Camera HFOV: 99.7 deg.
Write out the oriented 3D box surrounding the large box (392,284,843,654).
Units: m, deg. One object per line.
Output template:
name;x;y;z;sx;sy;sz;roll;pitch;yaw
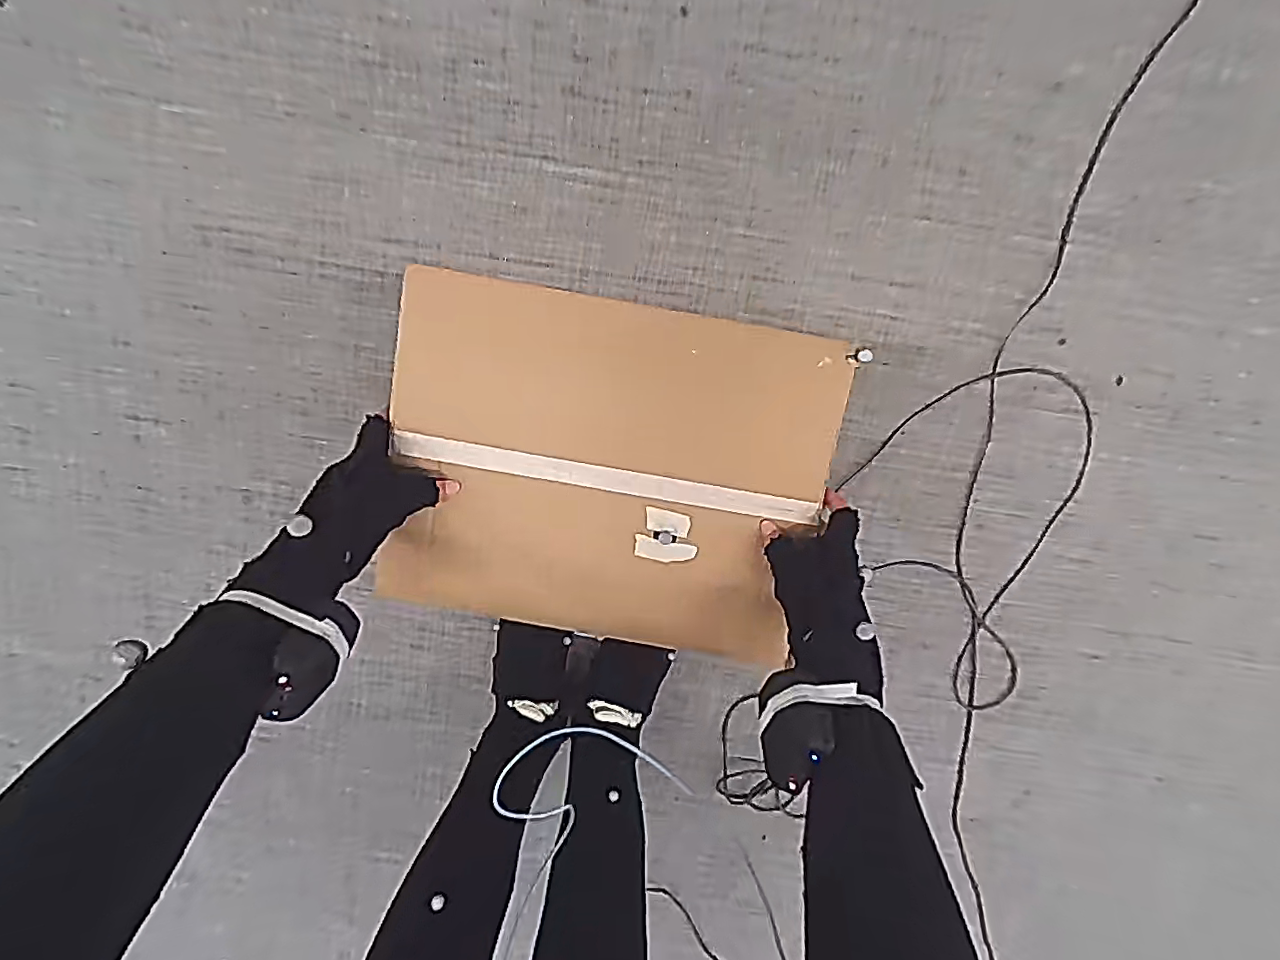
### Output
large box;-0.030;-0.025;0.665;0.408;0.320;0.320;10;100;-1
